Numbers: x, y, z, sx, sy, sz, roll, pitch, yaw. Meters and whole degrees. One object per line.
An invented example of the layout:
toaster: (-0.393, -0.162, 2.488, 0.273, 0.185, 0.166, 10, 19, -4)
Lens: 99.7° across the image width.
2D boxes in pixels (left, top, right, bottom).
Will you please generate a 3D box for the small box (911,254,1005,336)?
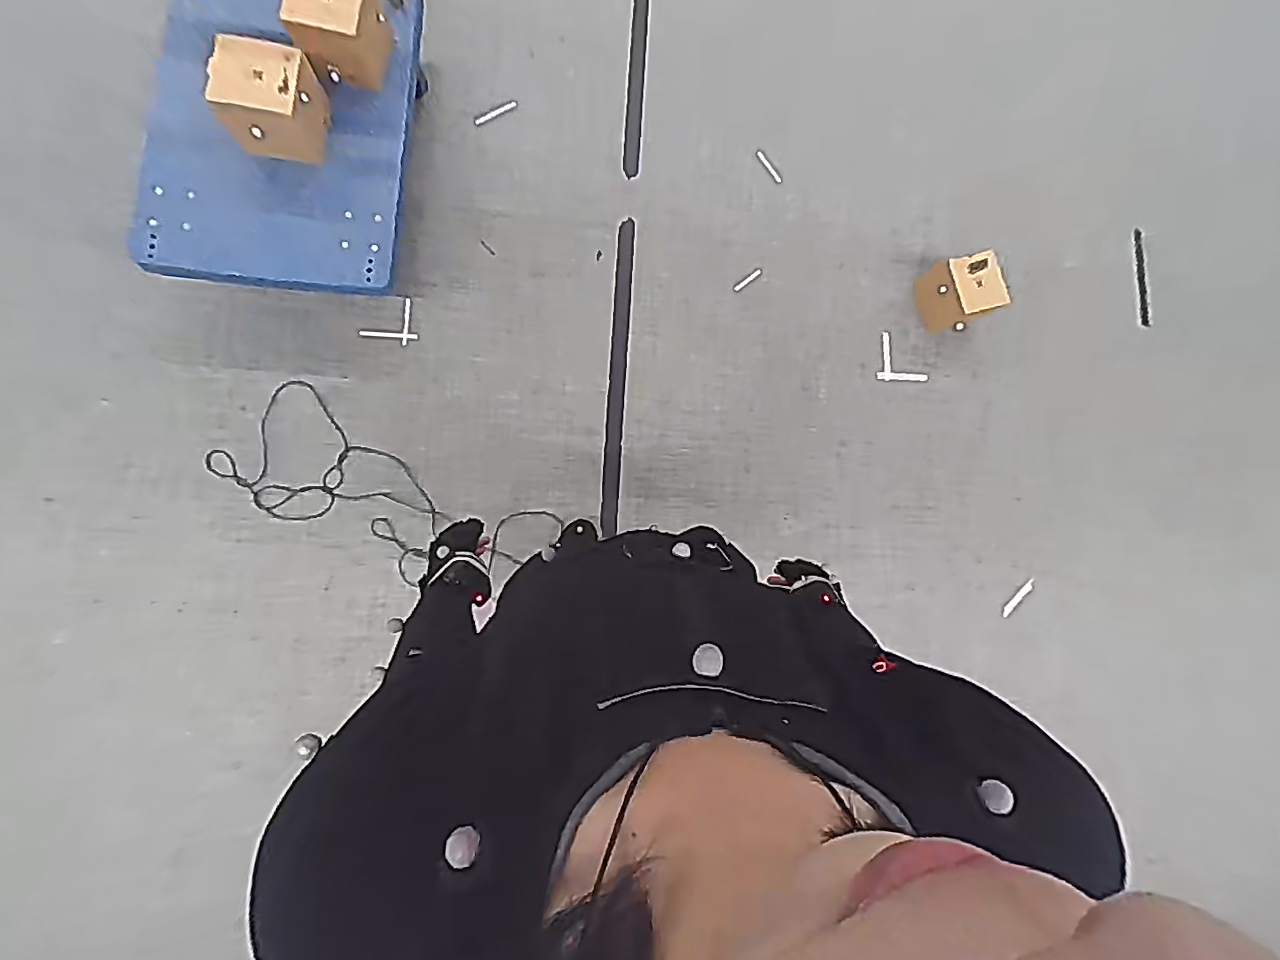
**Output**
small box: (0.998, -0.581, 1.712, 0.168, 0.176, 0.179, -15, 87, -10)

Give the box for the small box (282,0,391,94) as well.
small box: (-0.722, -1.092, 1.308, 0.168, 0.176, 0.179, 8, 84, -6)

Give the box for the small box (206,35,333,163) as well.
small box: (-0.854, -0.877, 1.262, 0.179, 0.176, 0.168, 5, 84, -7)
